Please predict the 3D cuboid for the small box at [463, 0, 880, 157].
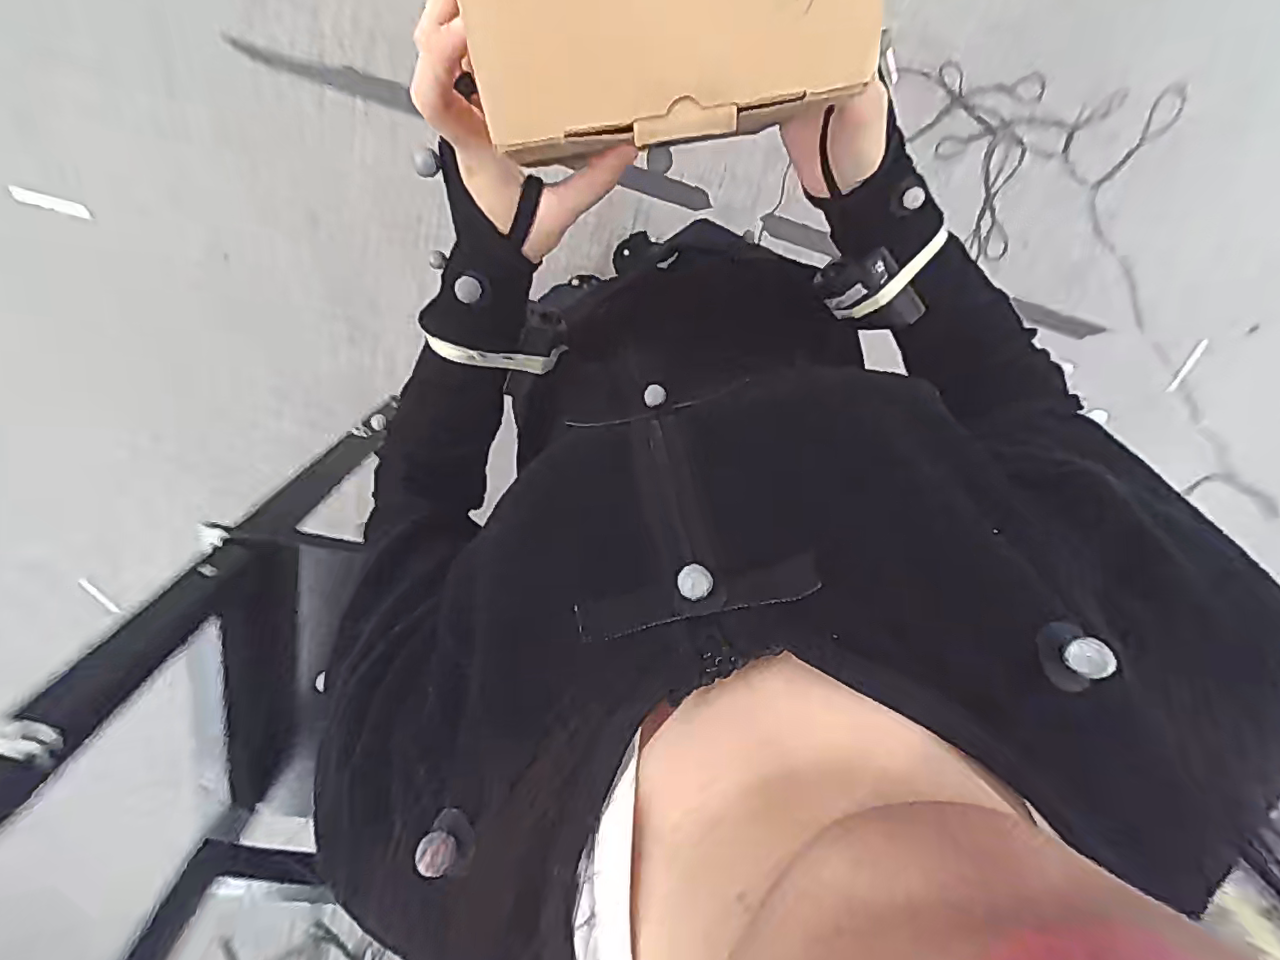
[{"bbox_3d":[0.002,-0.264,0.259,0.168,0.176,0.179,-9,119,-2],"label":"small box"}]
